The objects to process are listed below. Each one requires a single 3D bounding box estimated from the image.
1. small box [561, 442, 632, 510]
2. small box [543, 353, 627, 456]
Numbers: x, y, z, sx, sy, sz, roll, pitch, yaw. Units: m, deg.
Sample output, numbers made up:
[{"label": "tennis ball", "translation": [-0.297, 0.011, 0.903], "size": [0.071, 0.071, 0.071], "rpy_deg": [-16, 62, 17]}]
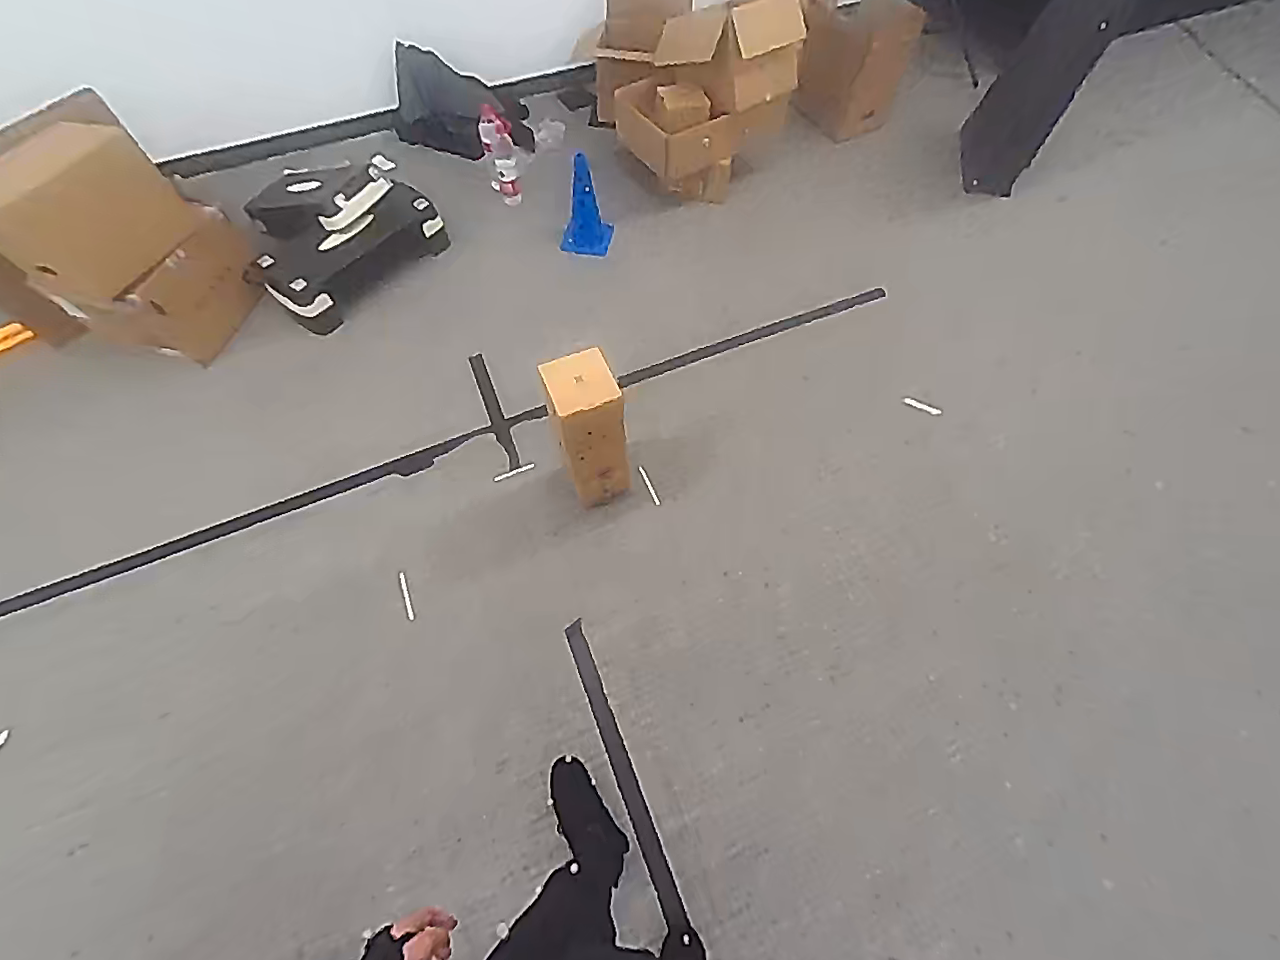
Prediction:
[{"label": "small box", "translation": [-0.135, -0.036, 1.696], "size": [0.168, 0.176, 0.179], "rpy_deg": [-24, 65, -12]}, {"label": "small box", "translation": [-0.141, -0.194, 1.408], "size": [0.168, 0.176, 0.179], "rpy_deg": [-20, 64, -11]}]
